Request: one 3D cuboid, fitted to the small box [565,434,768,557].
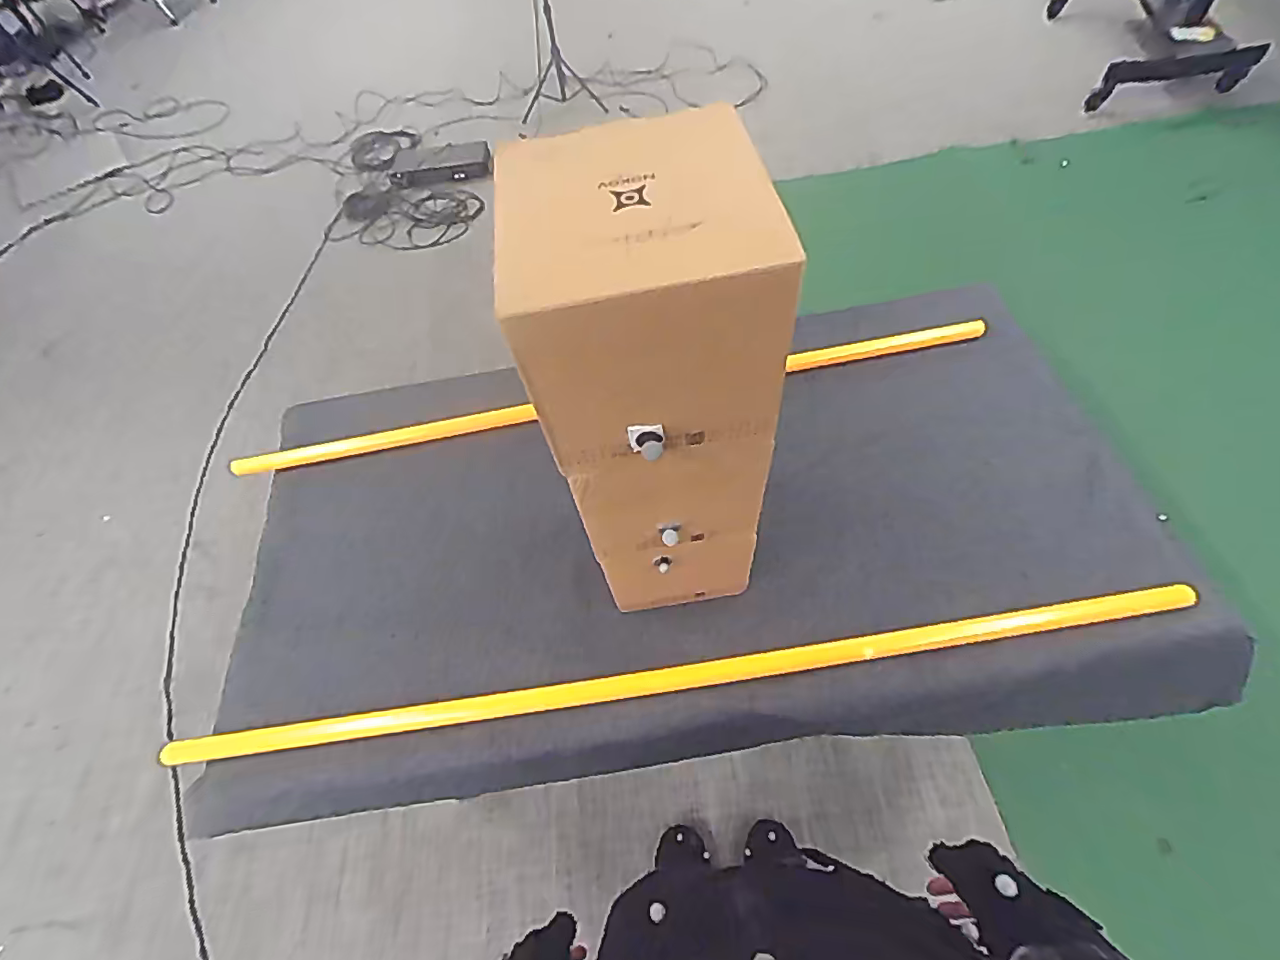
[{"bbox_3d":[0.017,-0.045,0.538,0.168,0.176,0.179,-10,58,0],"label":"small box"}]

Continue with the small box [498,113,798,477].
[{"bbox_3d":[0.001,-0.127,0.400,0.168,0.176,0.179,-11,59,1],"label":"small box"}]

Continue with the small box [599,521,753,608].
[{"bbox_3d":[0.036,0.040,0.678,0.168,0.176,0.179,-10,57,1],"label":"small box"}]
